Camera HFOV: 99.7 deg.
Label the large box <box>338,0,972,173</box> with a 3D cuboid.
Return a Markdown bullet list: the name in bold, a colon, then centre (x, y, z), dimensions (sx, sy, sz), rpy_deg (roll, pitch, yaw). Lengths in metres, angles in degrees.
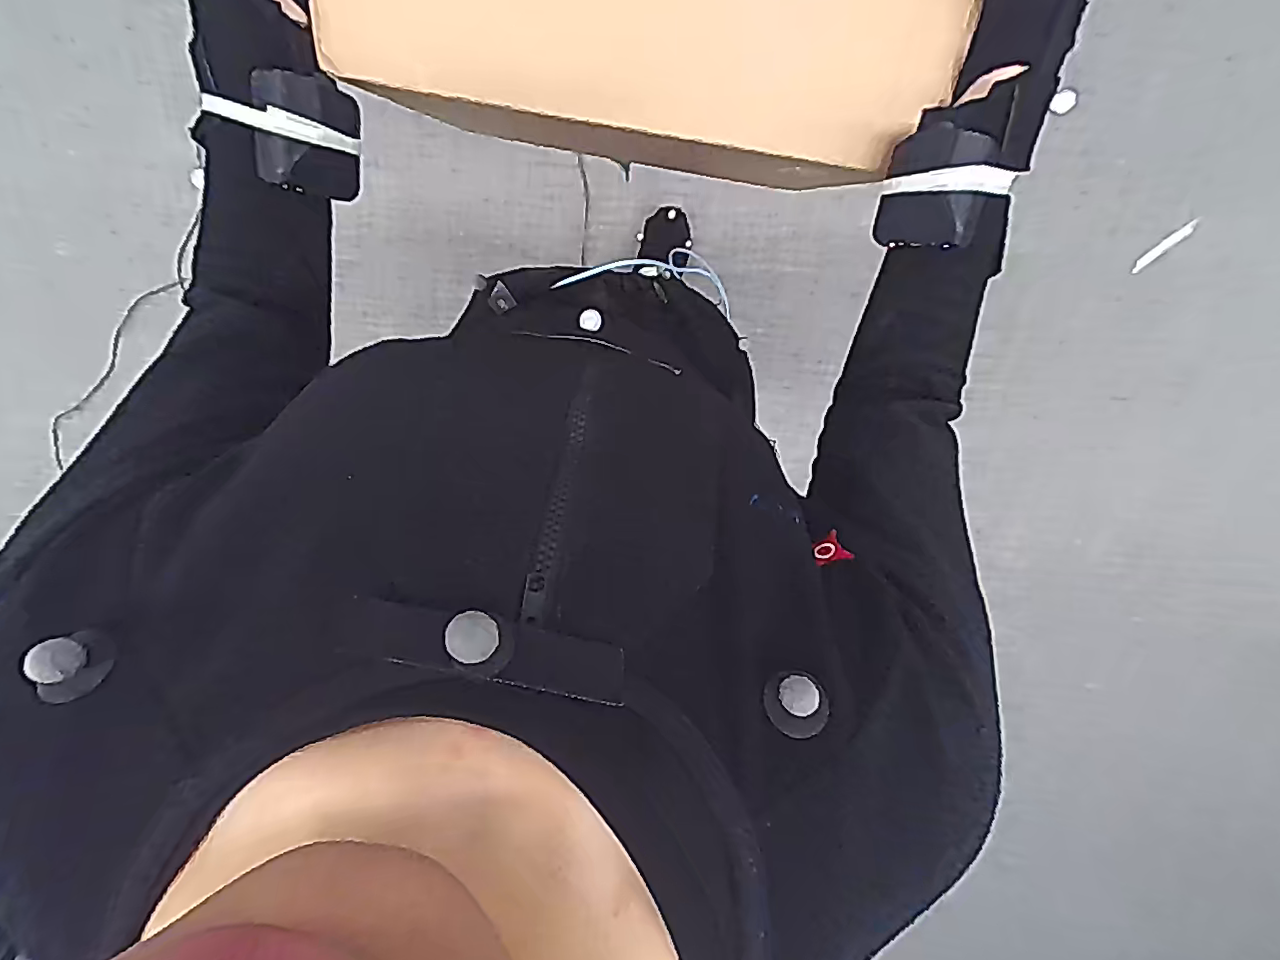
- **large box**: centre (0.019, -0.452, 0.428), dimensions (0.408, 0.320, 0.320), rpy_deg (7, 118, -5)
